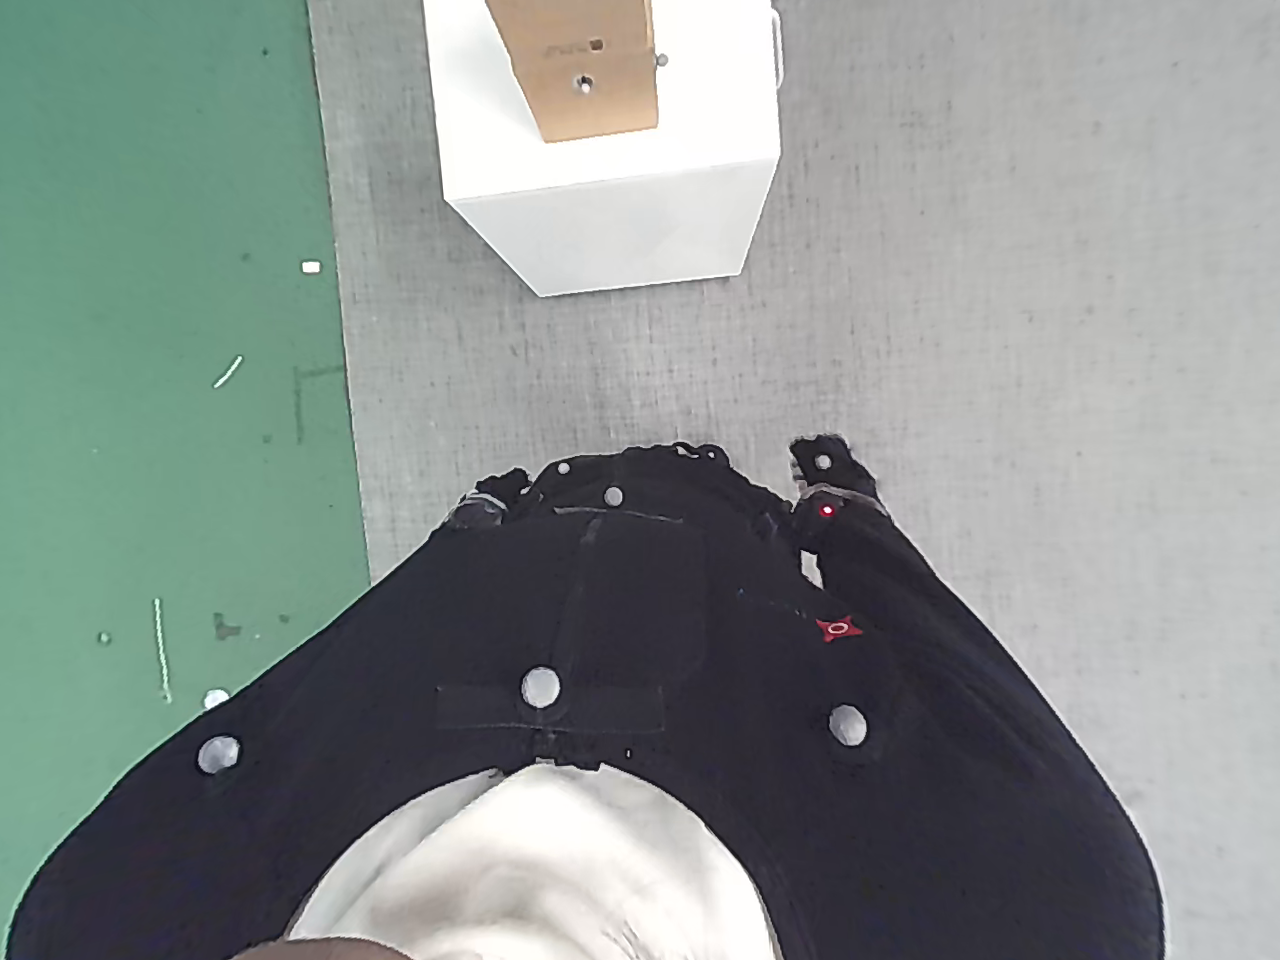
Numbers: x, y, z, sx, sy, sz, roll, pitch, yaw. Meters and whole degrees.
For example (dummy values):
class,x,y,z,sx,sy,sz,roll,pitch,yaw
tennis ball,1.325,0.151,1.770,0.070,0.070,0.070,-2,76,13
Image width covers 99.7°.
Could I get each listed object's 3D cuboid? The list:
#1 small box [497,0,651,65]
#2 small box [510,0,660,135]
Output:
class,x,y,z,sx,sy,sz,roll,pitch,yaw
small box,-0.079,-0.585,0.560,0.168,0.176,0.179,-6,94,4
small box,-0.068,-0.592,0.721,0.179,0.176,0.168,-5,94,4
